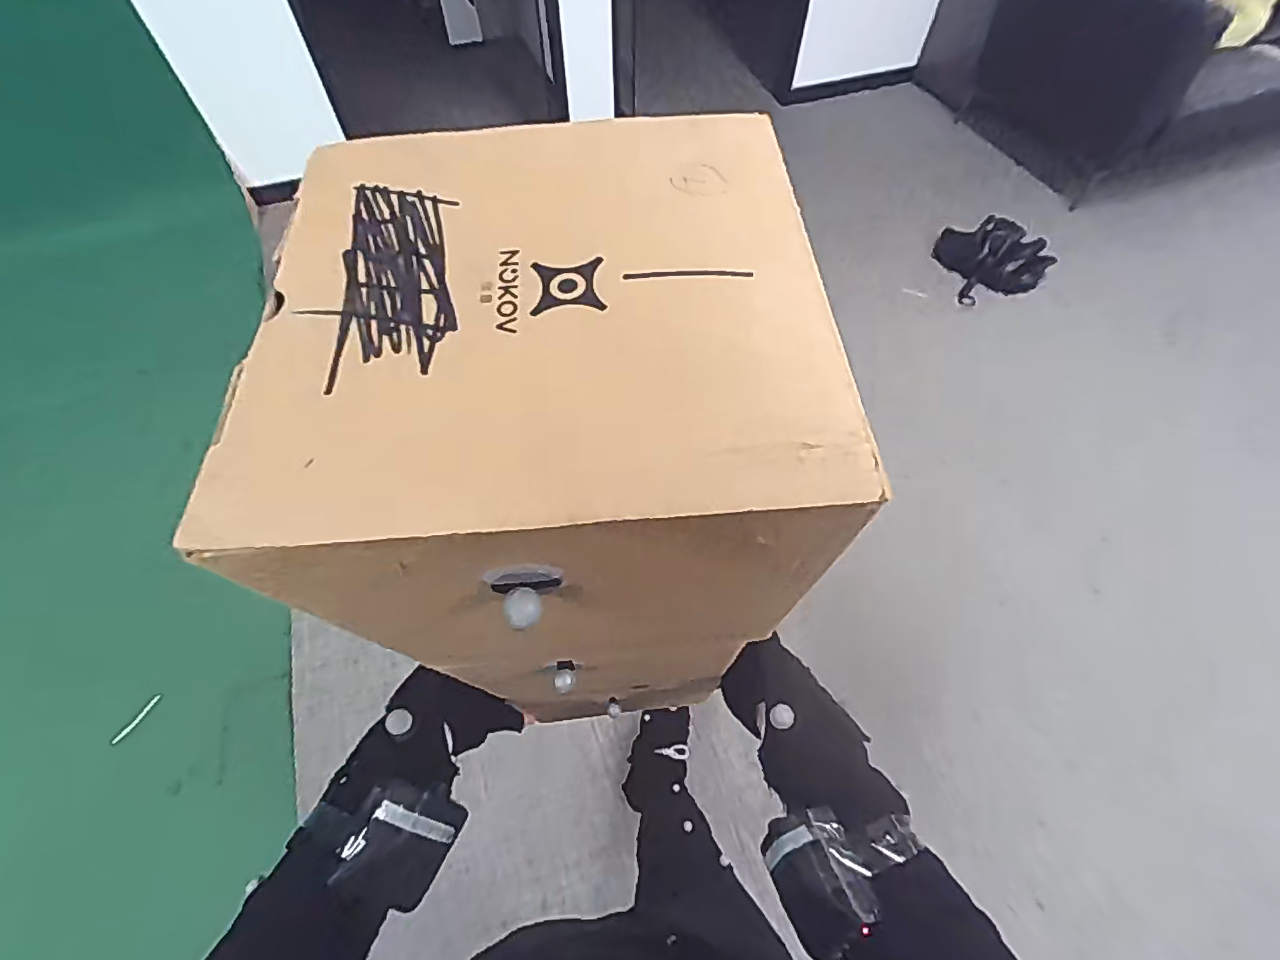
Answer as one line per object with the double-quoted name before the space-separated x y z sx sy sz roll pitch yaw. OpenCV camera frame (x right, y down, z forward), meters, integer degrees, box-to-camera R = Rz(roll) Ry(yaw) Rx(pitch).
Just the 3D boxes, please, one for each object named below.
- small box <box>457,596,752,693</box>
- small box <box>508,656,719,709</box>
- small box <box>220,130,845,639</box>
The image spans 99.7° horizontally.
"small box" -0.029 0.047 0.404 0.168 0.176 0.179 -7 62 -3
"small box" -0.027 0.127 0.544 0.179 0.176 0.168 -6 62 -3
"small box" -0.032 -0.028 0.255 0.179 0.176 0.168 -4 62 -1
